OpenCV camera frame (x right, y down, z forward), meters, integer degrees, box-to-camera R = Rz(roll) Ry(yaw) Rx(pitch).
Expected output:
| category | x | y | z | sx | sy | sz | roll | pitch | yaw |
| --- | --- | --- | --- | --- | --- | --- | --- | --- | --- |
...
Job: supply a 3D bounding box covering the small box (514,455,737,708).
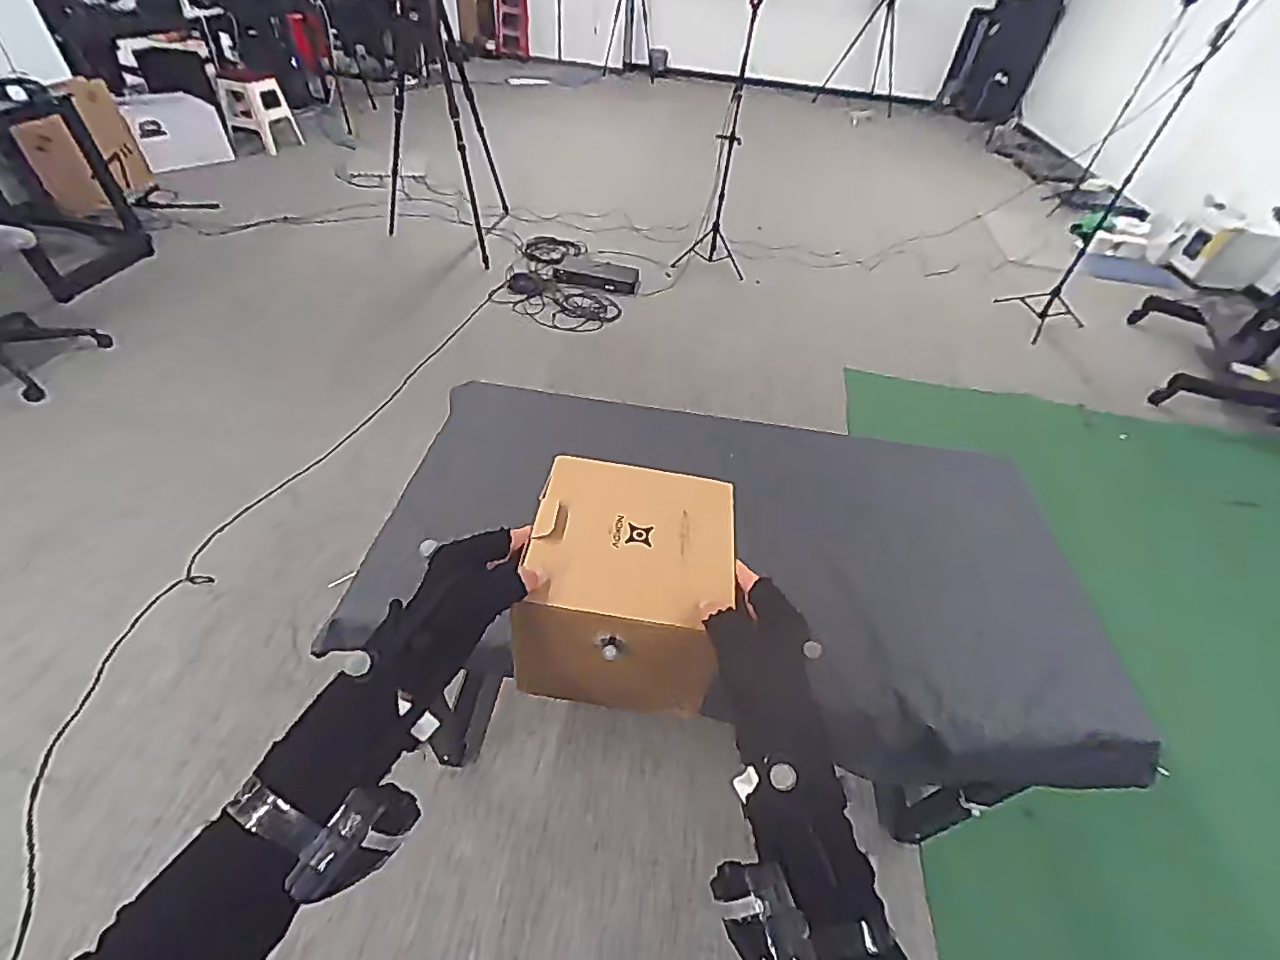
| category | x | y | z | sx | sy | sz | roll | pitch | yaw |
| --- | --- | --- | --- | --- | --- | --- | --- | --- | --- |
| small box | -0.013 | 0.101 | 0.523 | 0.179 | 0.176 | 0.168 | 9 | 46 | -2 |
